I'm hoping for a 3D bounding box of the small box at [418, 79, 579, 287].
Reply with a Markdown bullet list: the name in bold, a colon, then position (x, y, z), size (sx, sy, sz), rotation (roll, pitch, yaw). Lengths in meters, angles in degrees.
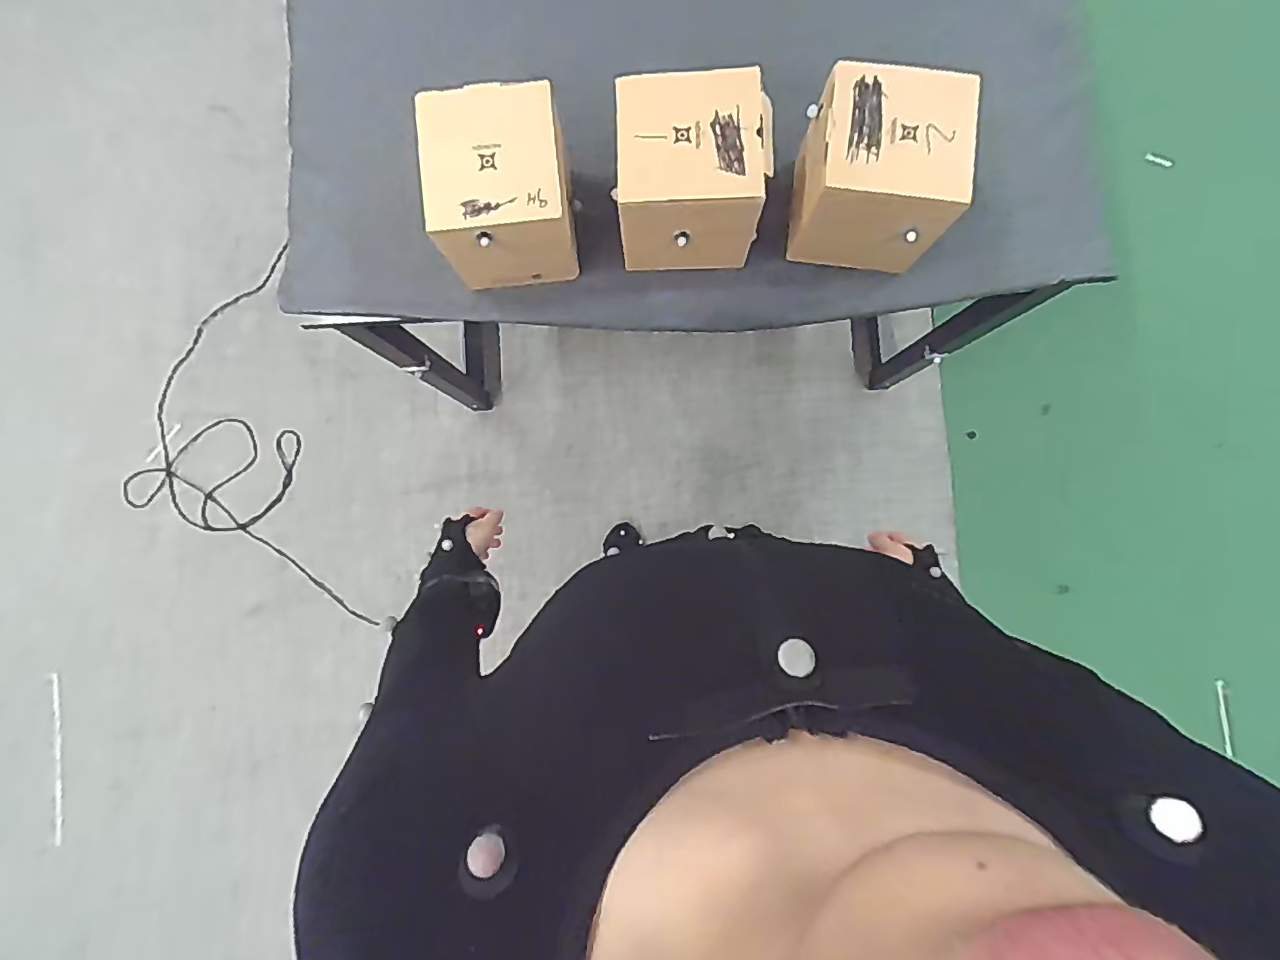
- **small box**: position (-0.178, -0.382, 0.722), size (0.168, 0.176, 0.179), rotation (-5, 86, 2)
